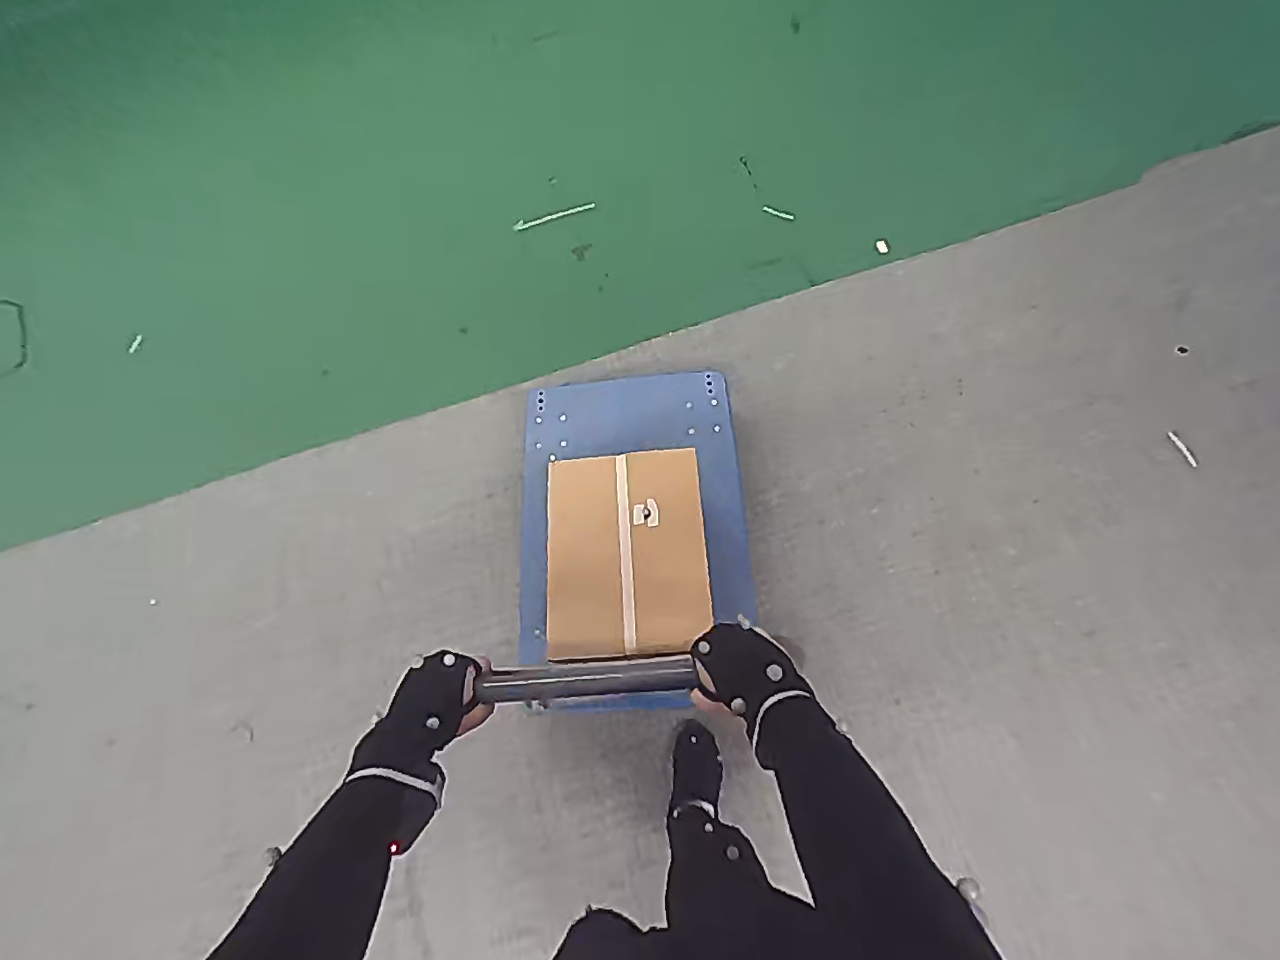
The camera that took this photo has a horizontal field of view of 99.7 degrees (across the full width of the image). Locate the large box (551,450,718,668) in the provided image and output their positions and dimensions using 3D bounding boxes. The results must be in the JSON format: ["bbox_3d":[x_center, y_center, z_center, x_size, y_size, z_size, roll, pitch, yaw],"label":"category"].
[{"bbox_3d":[-0.007,0.189,1.200,0.320,0.320,0.408,-5,68,4],"label":"large box"}]
